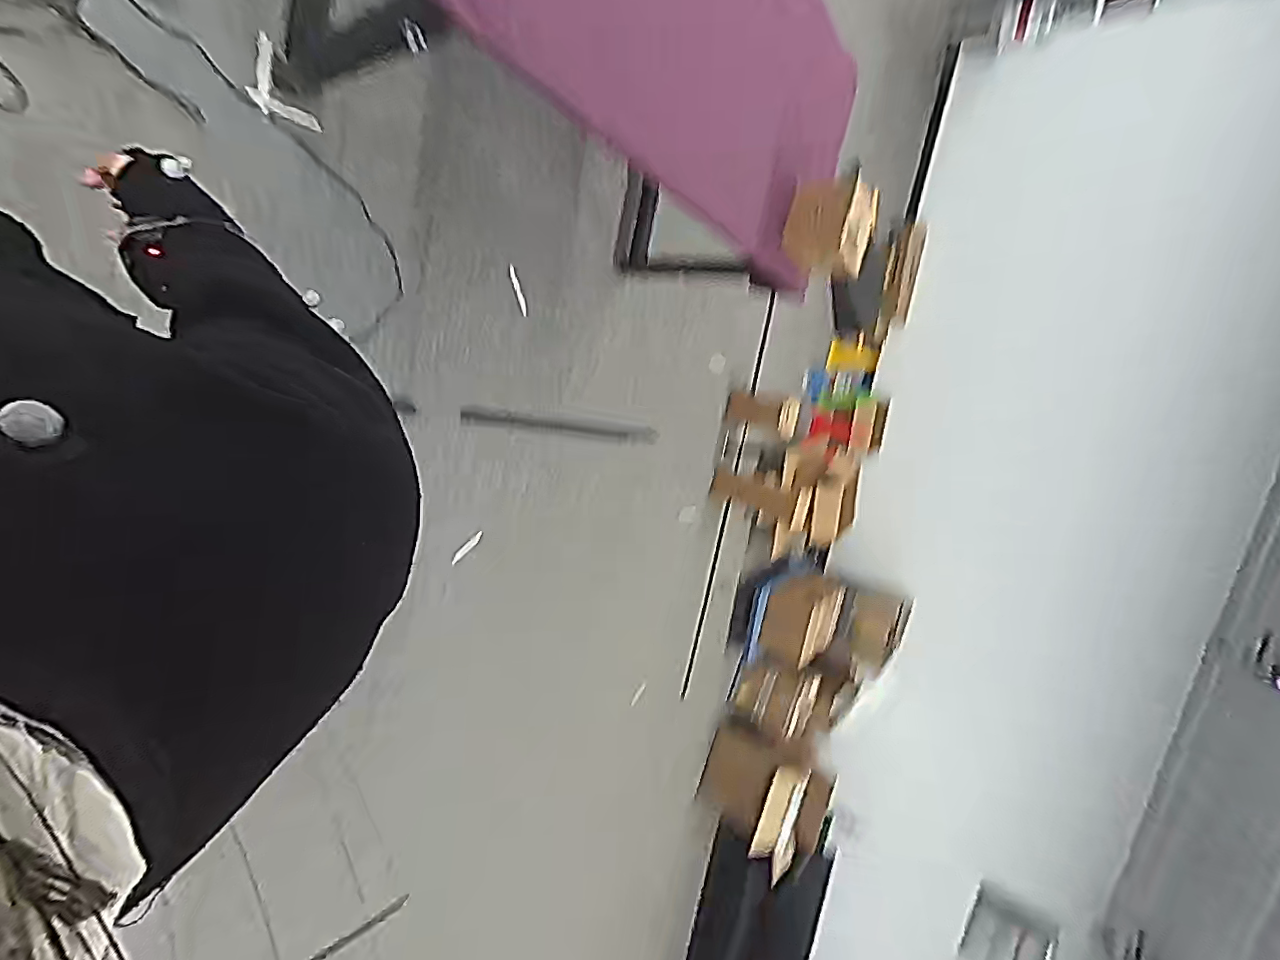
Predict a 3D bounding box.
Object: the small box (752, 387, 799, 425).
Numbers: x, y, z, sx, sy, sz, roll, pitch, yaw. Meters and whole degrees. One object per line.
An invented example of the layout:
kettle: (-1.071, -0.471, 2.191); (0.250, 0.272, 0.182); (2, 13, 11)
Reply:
small box: (0.705, -0.388, 2.819); (0.179, 0.176, 0.168); (-2, 106, -54)

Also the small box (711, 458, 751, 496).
small box: (0.515, -0.014, 3.012); (0.168, 0.176, 0.179); (5, 101, -54)

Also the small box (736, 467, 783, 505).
small box: (0.647, 0.028, 2.926); (0.179, 0.176, 0.168); (-1, 107, -52)

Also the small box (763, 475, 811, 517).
small box: (0.765, 0.081, 2.825); (0.168, 0.176, 0.179); (2, 105, -52)

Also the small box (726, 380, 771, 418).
small box: (0.580, -0.436, 2.915); (0.168, 0.176, 0.179); (-6, 108, -52)
